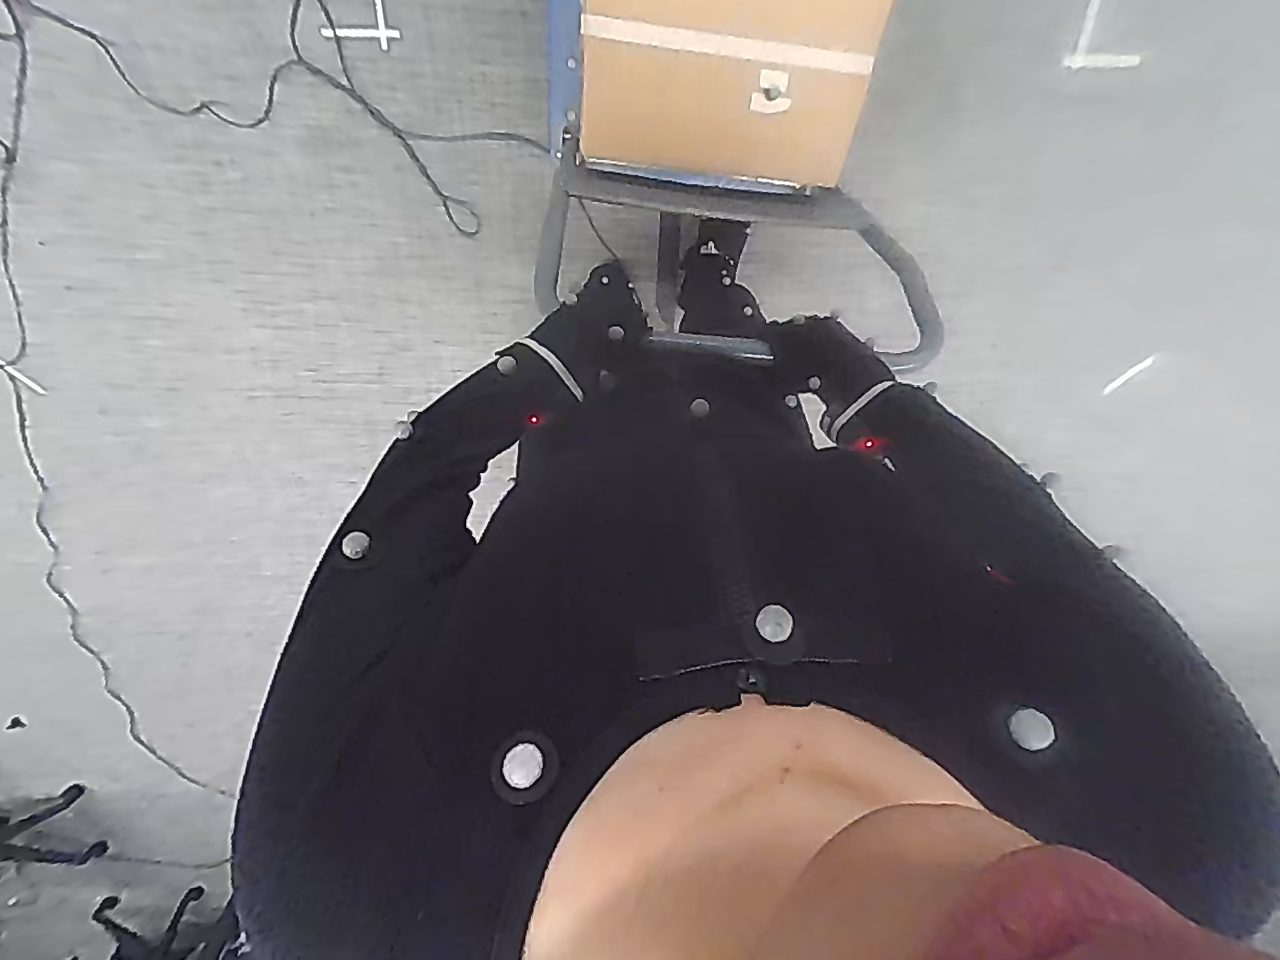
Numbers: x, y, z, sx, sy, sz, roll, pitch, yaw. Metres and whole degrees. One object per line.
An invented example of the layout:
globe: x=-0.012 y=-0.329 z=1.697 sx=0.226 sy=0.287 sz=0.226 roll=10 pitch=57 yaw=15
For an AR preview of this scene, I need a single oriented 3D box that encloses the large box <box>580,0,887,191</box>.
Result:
large box: x=0.111 y=-0.678 z=0.852 sx=0.408 sy=0.320 sz=0.320 roll=3 pitch=131 yaw=-7
